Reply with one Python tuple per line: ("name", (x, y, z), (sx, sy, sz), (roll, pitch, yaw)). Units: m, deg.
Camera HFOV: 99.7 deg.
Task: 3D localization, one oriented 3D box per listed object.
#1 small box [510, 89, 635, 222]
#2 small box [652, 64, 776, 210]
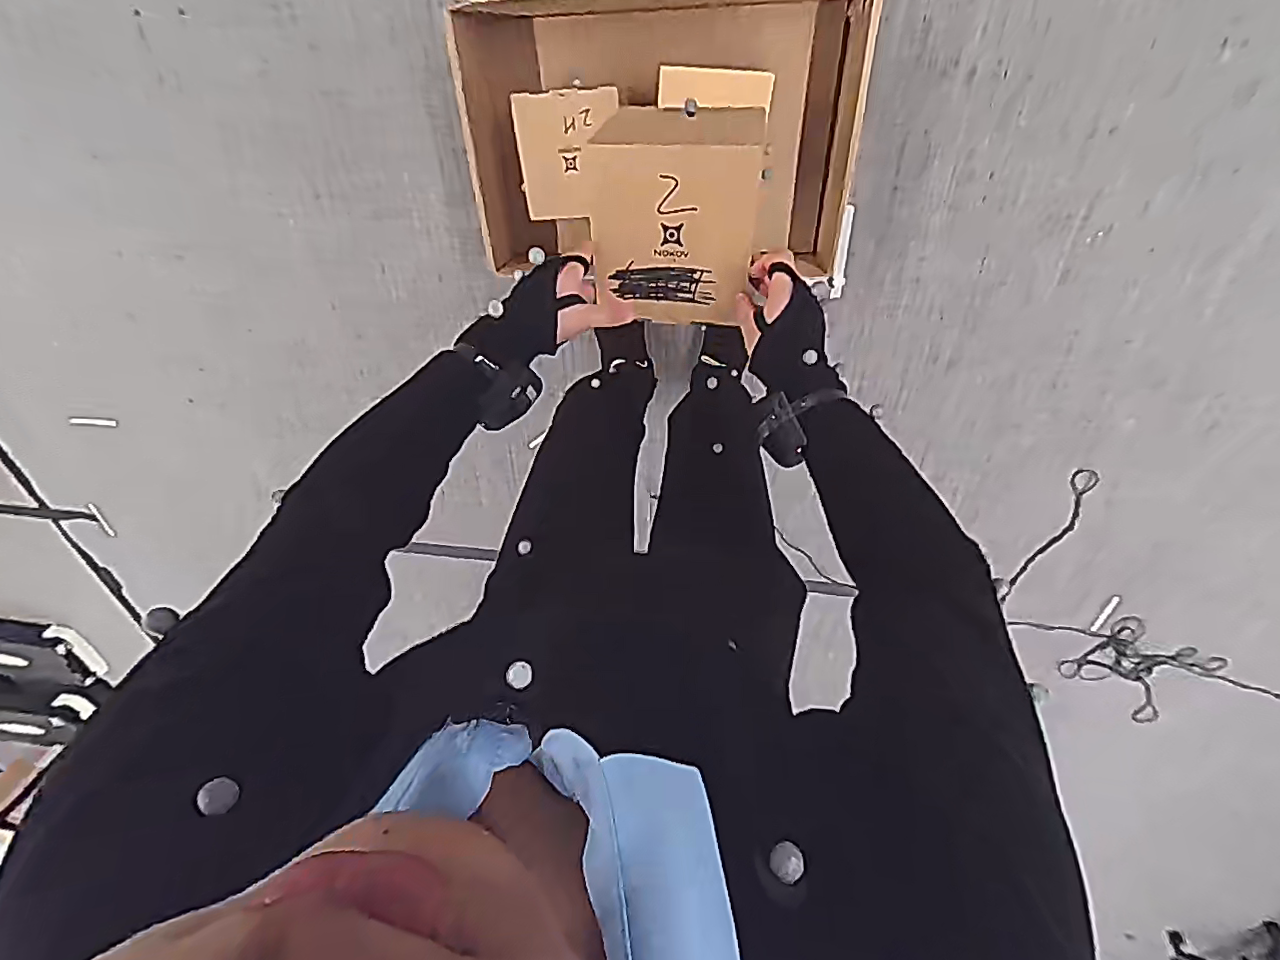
("small box", (-0.101, -0.547, 0.909), (0.168, 0.176, 0.179), (0, 125, 6))
("small box", (0.115, -0.553, 0.874), (0.168, 0.176, 0.179), (8, 126, 4))
